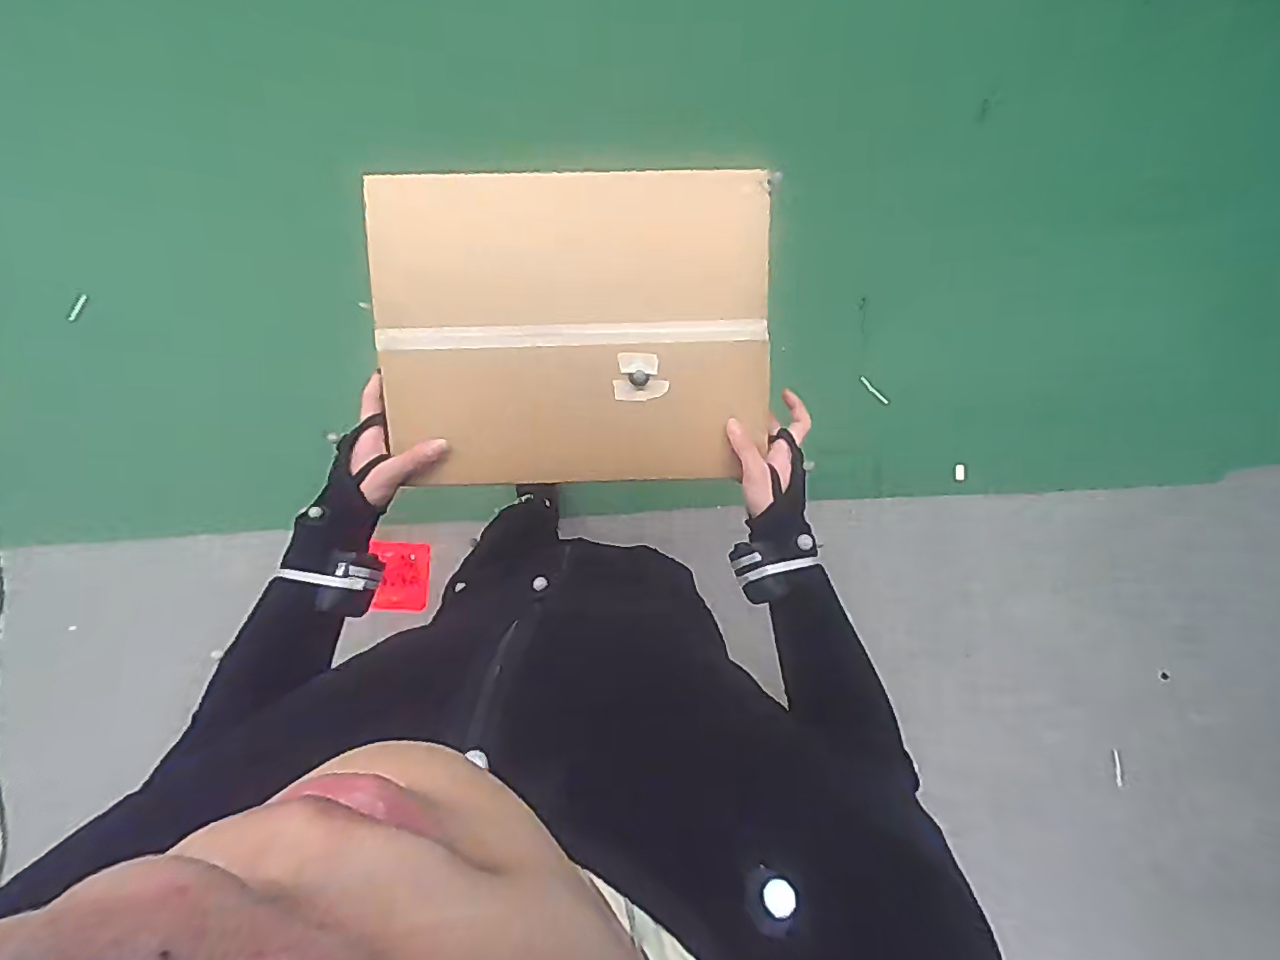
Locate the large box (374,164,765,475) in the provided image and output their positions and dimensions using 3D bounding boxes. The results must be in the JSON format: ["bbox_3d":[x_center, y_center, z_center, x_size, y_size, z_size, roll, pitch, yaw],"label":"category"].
[{"bbox_3d":[-0.072,-0.188,0.716,0.408,0.320,0.320,-1,100,-2],"label":"large box"}]

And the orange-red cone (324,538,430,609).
[{"bbox_3d":[-0.711,0.255,1.397,0.199,0.360,0.198,5,85,-2],"label":"orange-red cone"}]
